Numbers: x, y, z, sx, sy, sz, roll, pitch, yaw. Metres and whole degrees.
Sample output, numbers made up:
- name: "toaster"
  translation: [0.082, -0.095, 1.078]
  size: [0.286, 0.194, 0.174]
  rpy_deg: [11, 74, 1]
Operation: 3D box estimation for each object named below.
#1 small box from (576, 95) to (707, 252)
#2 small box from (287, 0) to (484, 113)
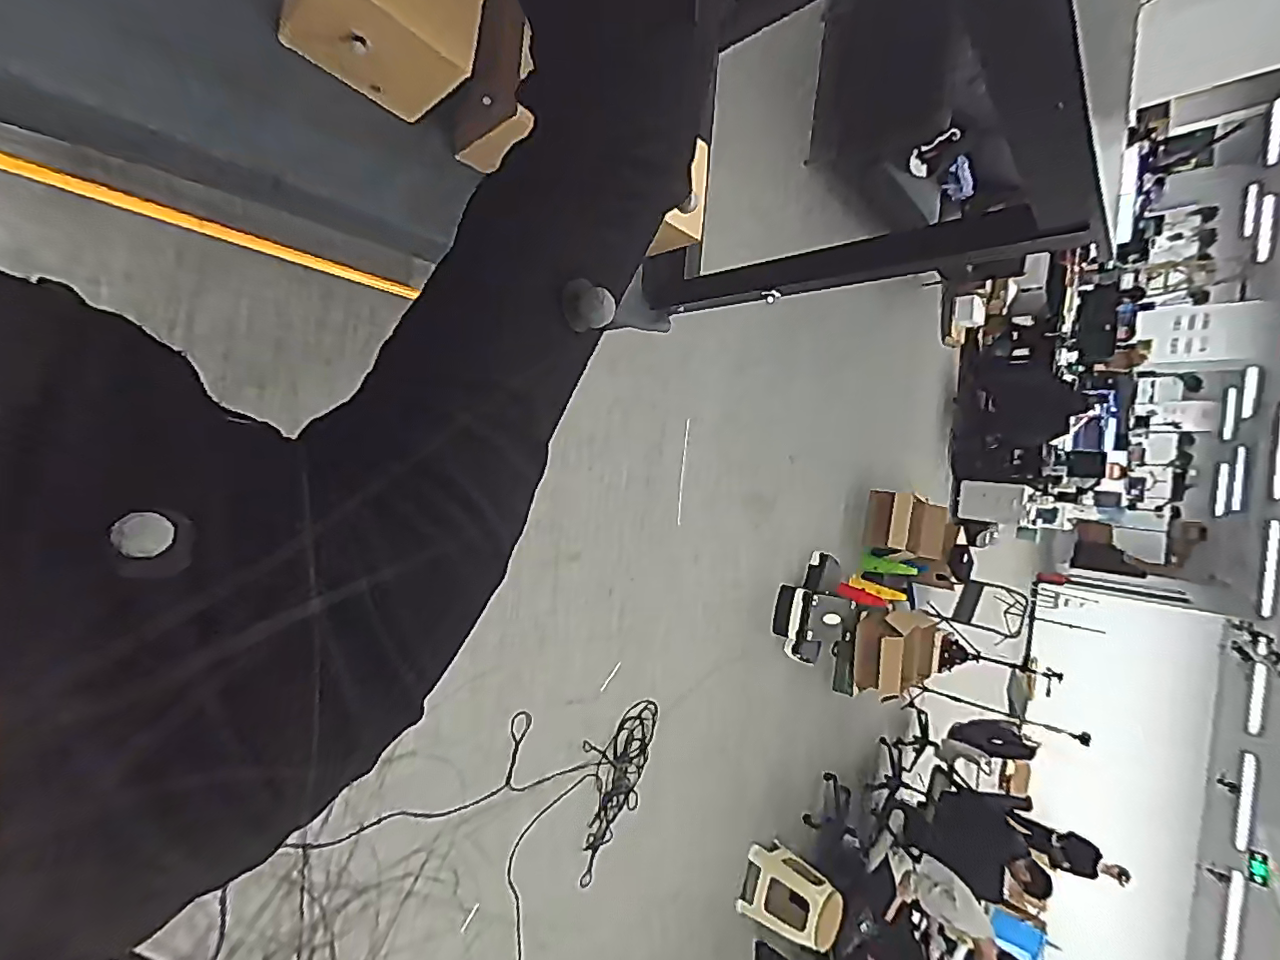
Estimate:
- name: "small box"
  translation: [0.000, -0.534, 0.976]
  size: [0.168, 0.176, 0.179]
  rpy_deg: [2, 93, -47]
- name: "small box"
  translation: [-0.304, -0.595, 0.652]
  size: [0.168, 0.176, 0.179]
  rpy_deg: [11, 87, -47]
